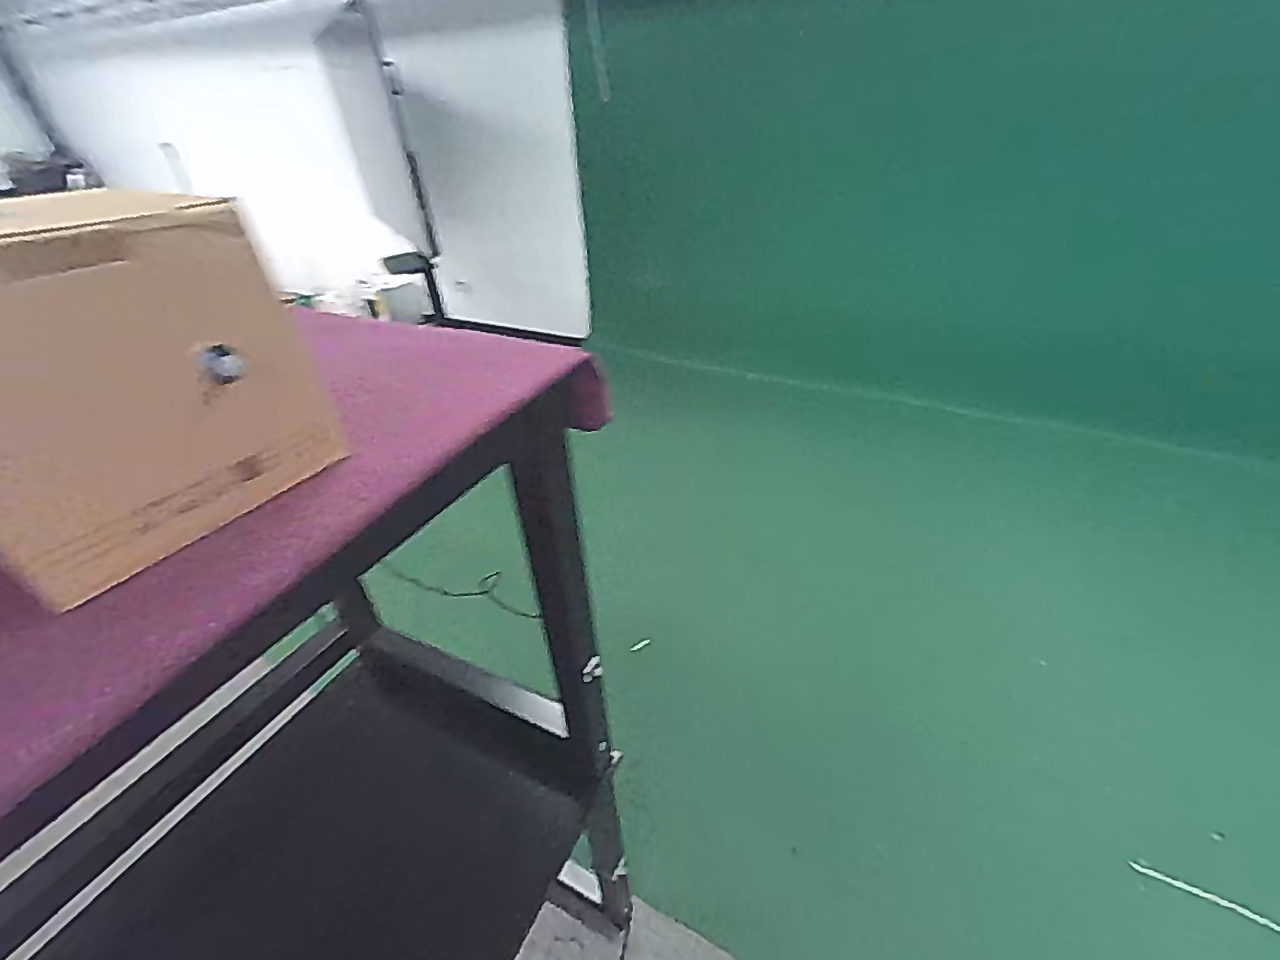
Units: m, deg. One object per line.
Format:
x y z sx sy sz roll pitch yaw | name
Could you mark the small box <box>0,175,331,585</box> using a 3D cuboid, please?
-0.323 -0.066 0.312 0.179 0.176 0.168 18 40 27 | small box
